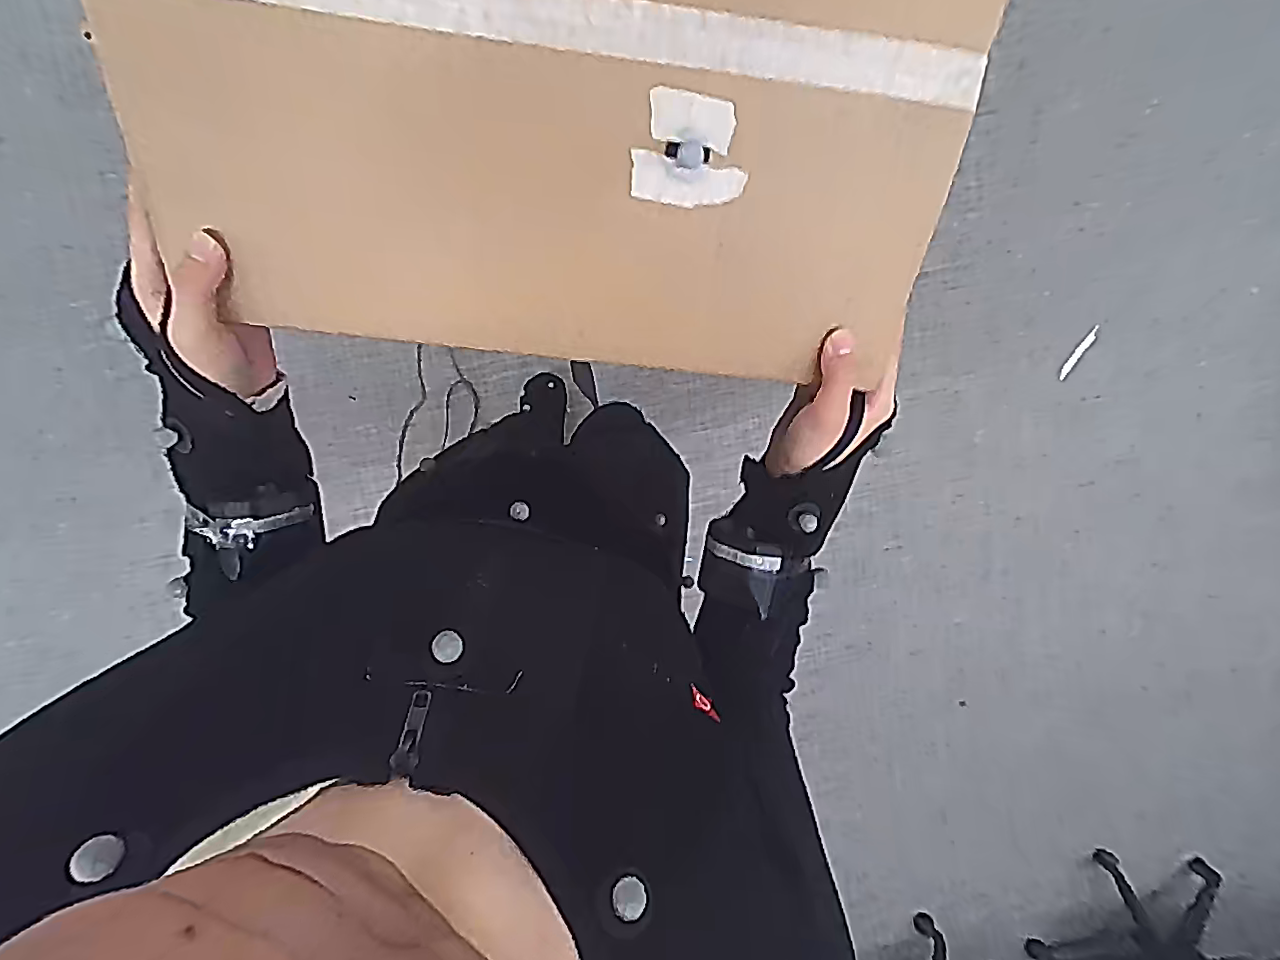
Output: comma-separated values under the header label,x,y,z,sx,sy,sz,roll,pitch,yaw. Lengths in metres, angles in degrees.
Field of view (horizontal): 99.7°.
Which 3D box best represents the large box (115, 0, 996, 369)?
label,x,y,z,sx,sy,sz,roll,pitch,yaw
large box,-0.042,-0.284,0.381,0.408,0.320,0.320,4,120,-6
